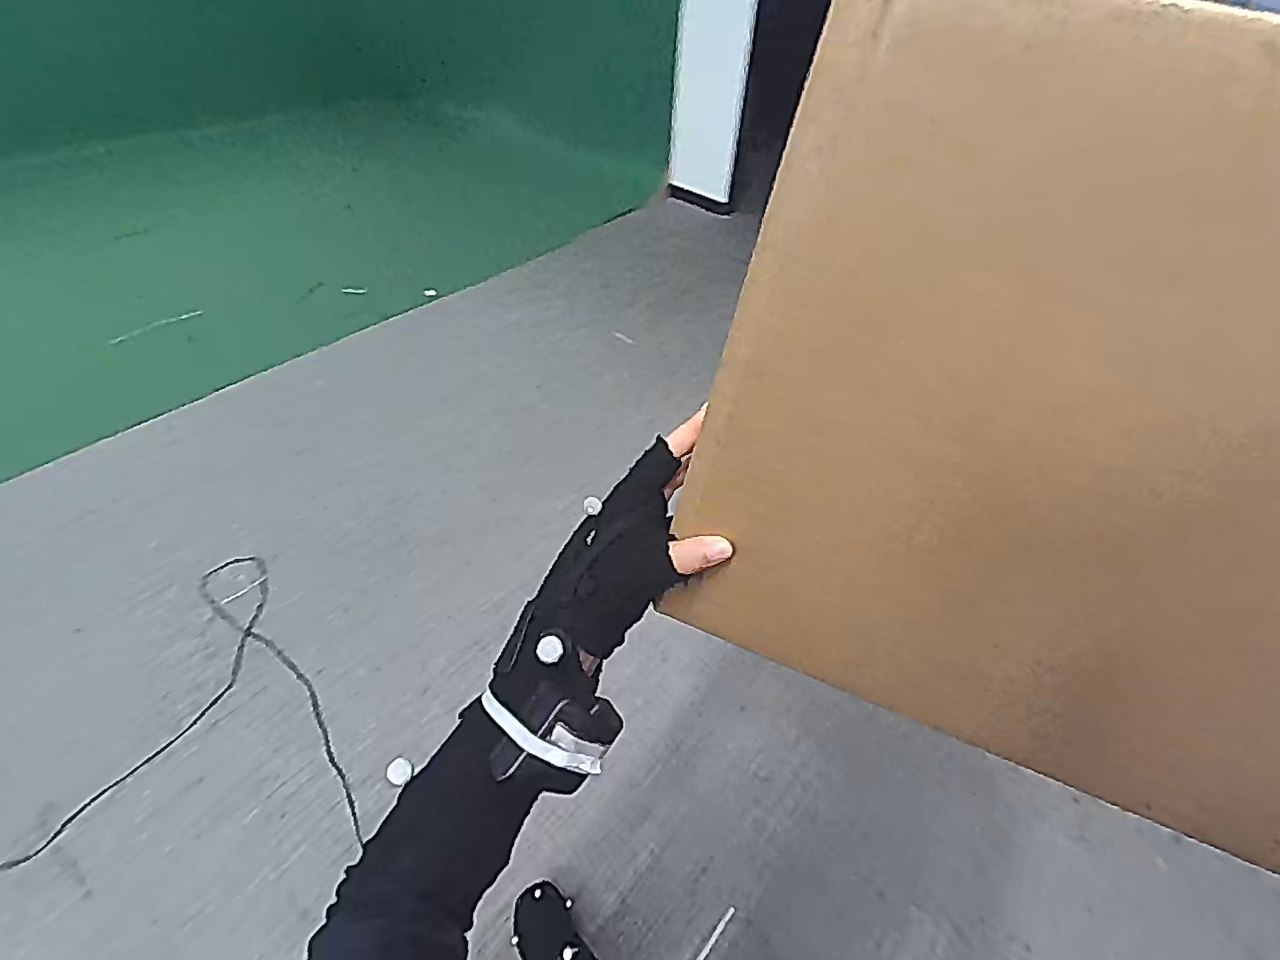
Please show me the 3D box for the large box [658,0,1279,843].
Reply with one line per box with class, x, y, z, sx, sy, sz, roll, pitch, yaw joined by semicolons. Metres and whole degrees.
large box;0.264;-0.052;0.340;0.408;0.320;0.320;21;41;7
